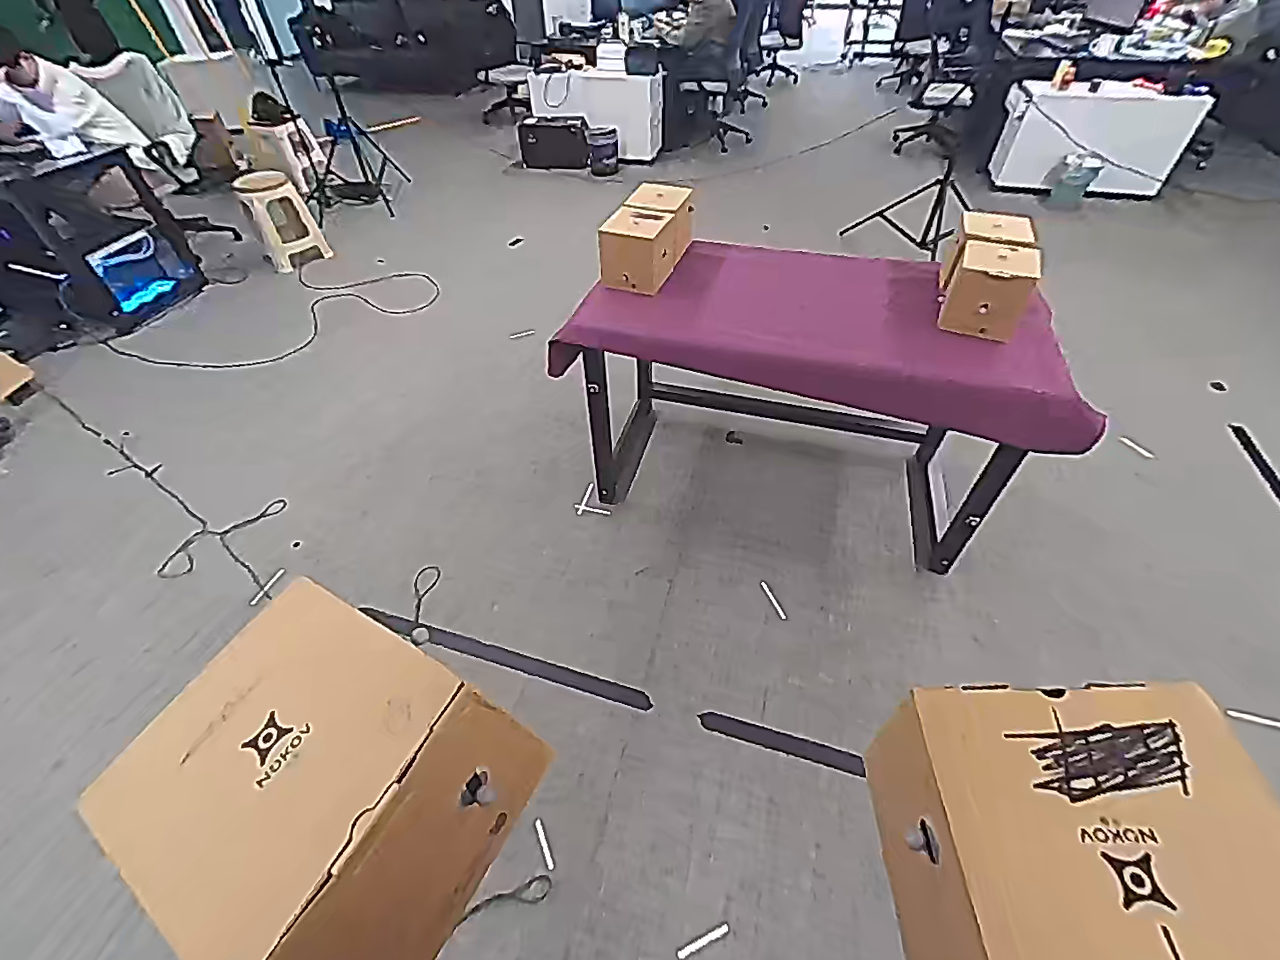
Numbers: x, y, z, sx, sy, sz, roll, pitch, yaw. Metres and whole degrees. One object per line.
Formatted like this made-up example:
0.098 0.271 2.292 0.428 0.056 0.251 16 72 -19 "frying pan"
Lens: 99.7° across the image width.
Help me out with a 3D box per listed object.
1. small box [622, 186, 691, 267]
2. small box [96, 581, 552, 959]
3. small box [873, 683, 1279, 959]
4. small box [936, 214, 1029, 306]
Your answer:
0.053 -0.788 1.681 0.168 0.176 0.179 15 50 15 "small box"
-0.189 0.204 0.374 0.179 0.176 0.168 18 57 27 "small box"
0.261 0.244 0.336 0.168 0.176 0.179 -5 50 7 "small box"
0.932 -0.607 1.489 0.168 0.176 0.179 15 48 14 "small box"
